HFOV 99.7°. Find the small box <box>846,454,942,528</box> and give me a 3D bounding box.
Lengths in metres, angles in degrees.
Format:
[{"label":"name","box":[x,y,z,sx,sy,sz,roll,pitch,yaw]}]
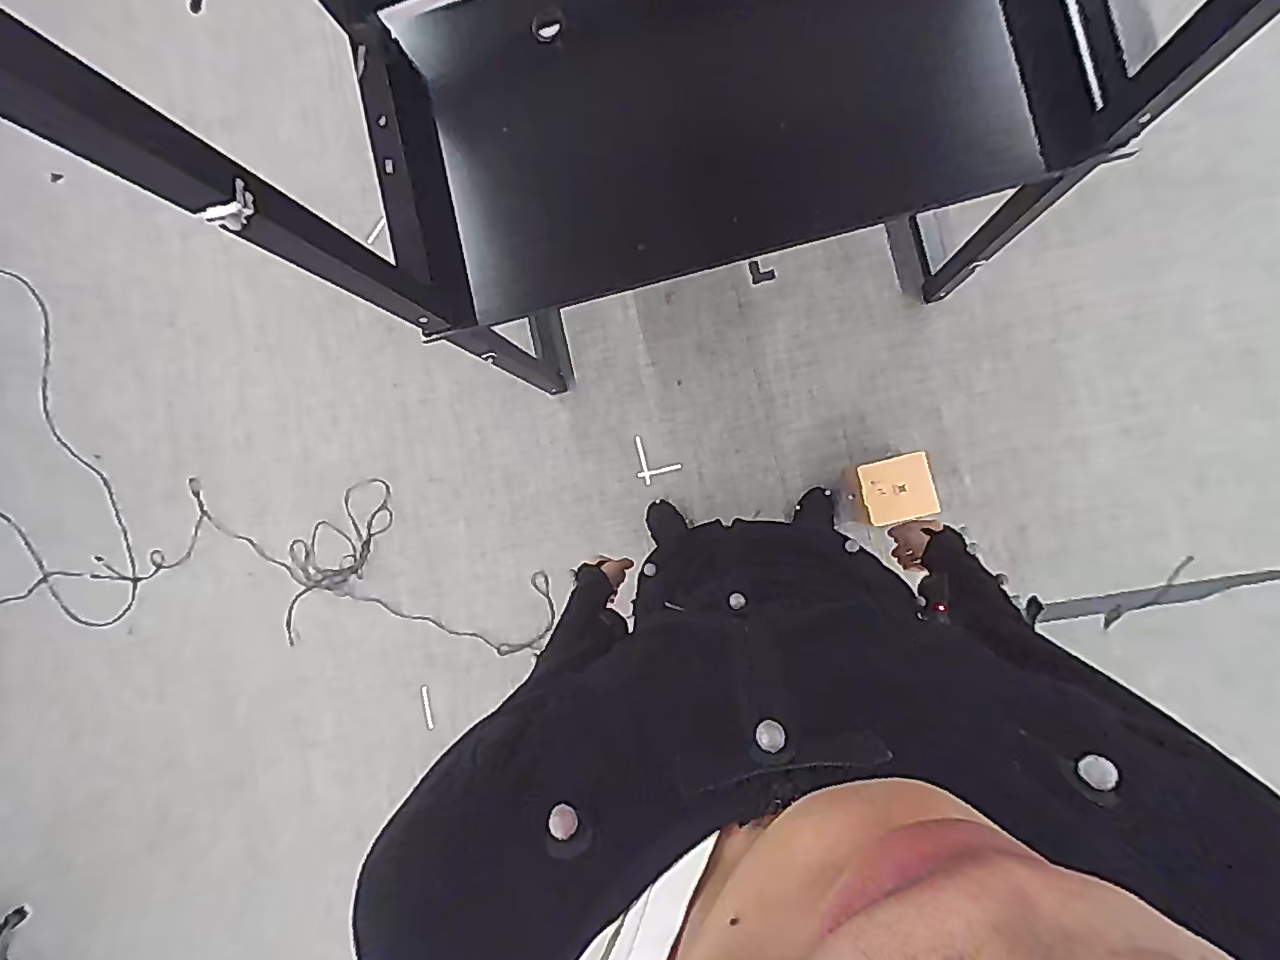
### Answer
[{"label":"small box","box":[0.685,0.028,1.477,0.179,0.176,0.168,-14,87,9]}]
